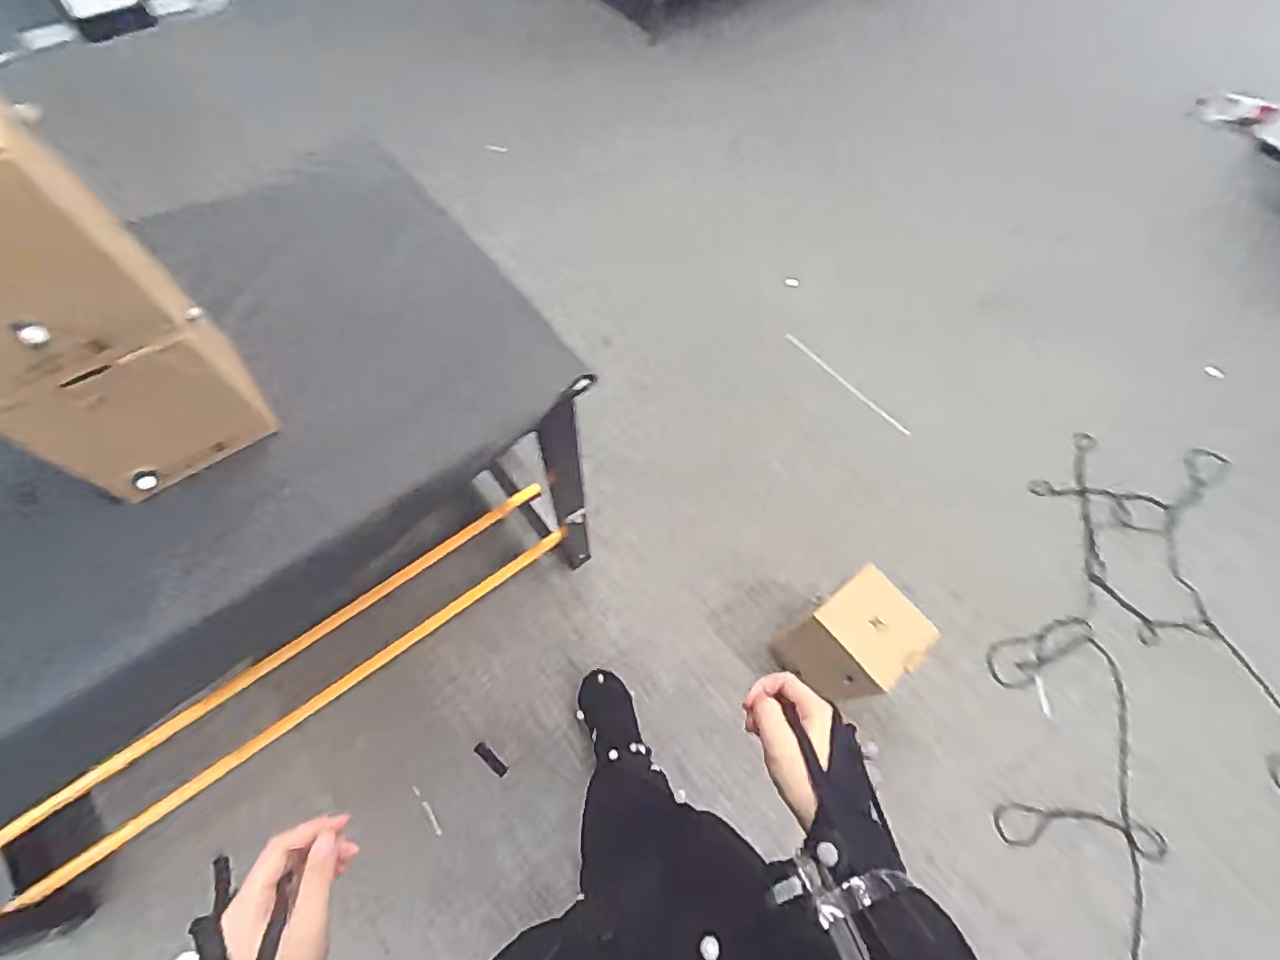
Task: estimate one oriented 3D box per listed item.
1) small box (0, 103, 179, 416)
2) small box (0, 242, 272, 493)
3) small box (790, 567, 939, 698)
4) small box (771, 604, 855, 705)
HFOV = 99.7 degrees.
[{"bbox_3d":[-0.536,-0.185,0.433,0.168,0.176,0.179,-38,71,-19],"label":"small box"},{"bbox_3d":[-0.543,-0.107,0.578,0.168,0.176,0.179,-35,69,-19],"label":"small box"},{"bbox_3d":[0.426,0.304,1.054,0.168,0.176,0.179,-36,69,-20],"label":"small box"},{"bbox_3d":[0.422,0.377,1.200,0.168,0.176,0.179,-33,71,-18],"label":"small box"}]
